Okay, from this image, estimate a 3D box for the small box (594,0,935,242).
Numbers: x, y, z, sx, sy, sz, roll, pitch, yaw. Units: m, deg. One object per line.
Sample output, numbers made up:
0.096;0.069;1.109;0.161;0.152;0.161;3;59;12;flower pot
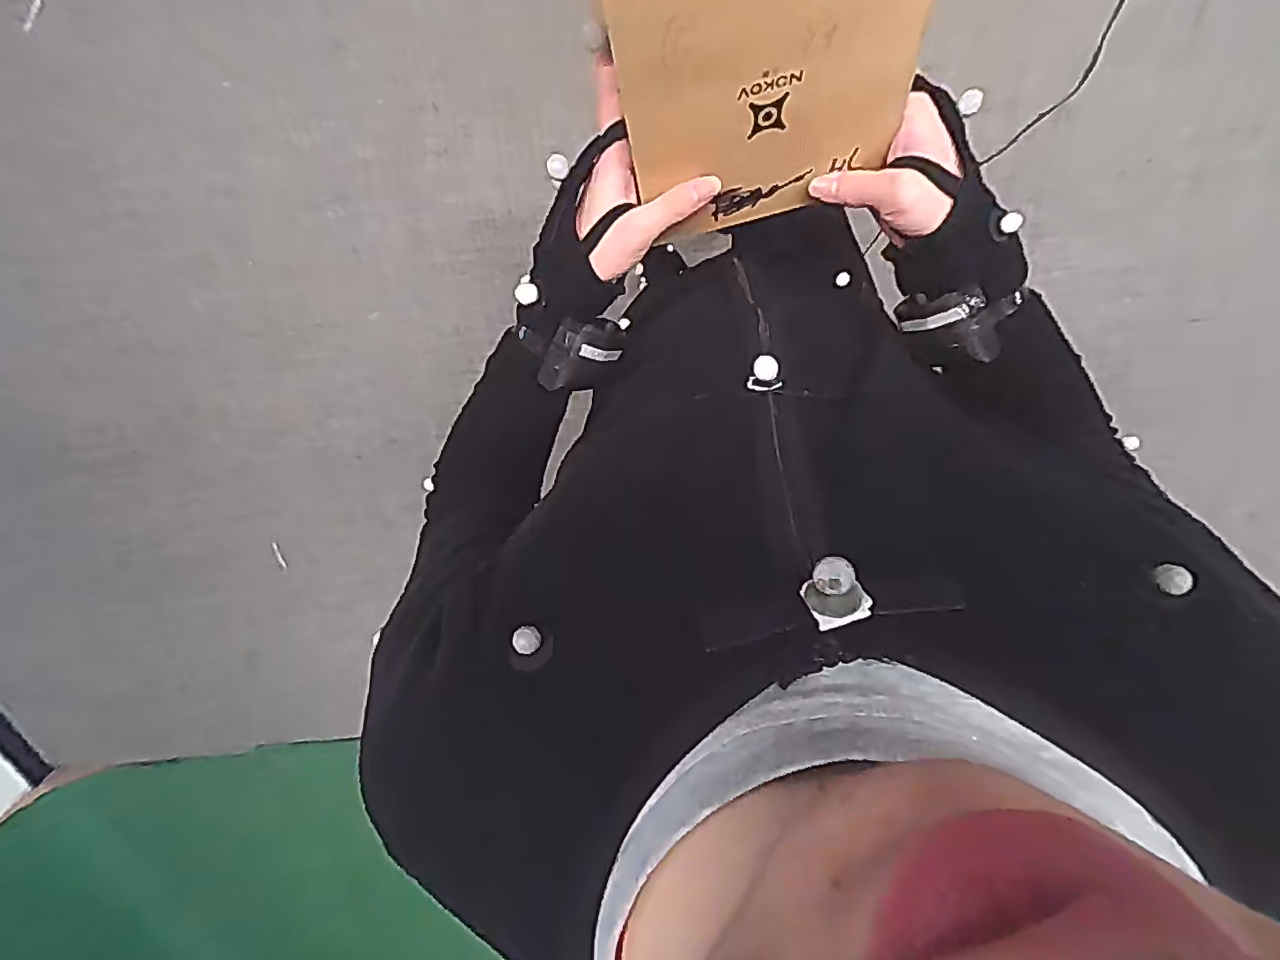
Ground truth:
0.059;-0.291;0.333;0.168;0.179;0.176;-12;71;5;small box
